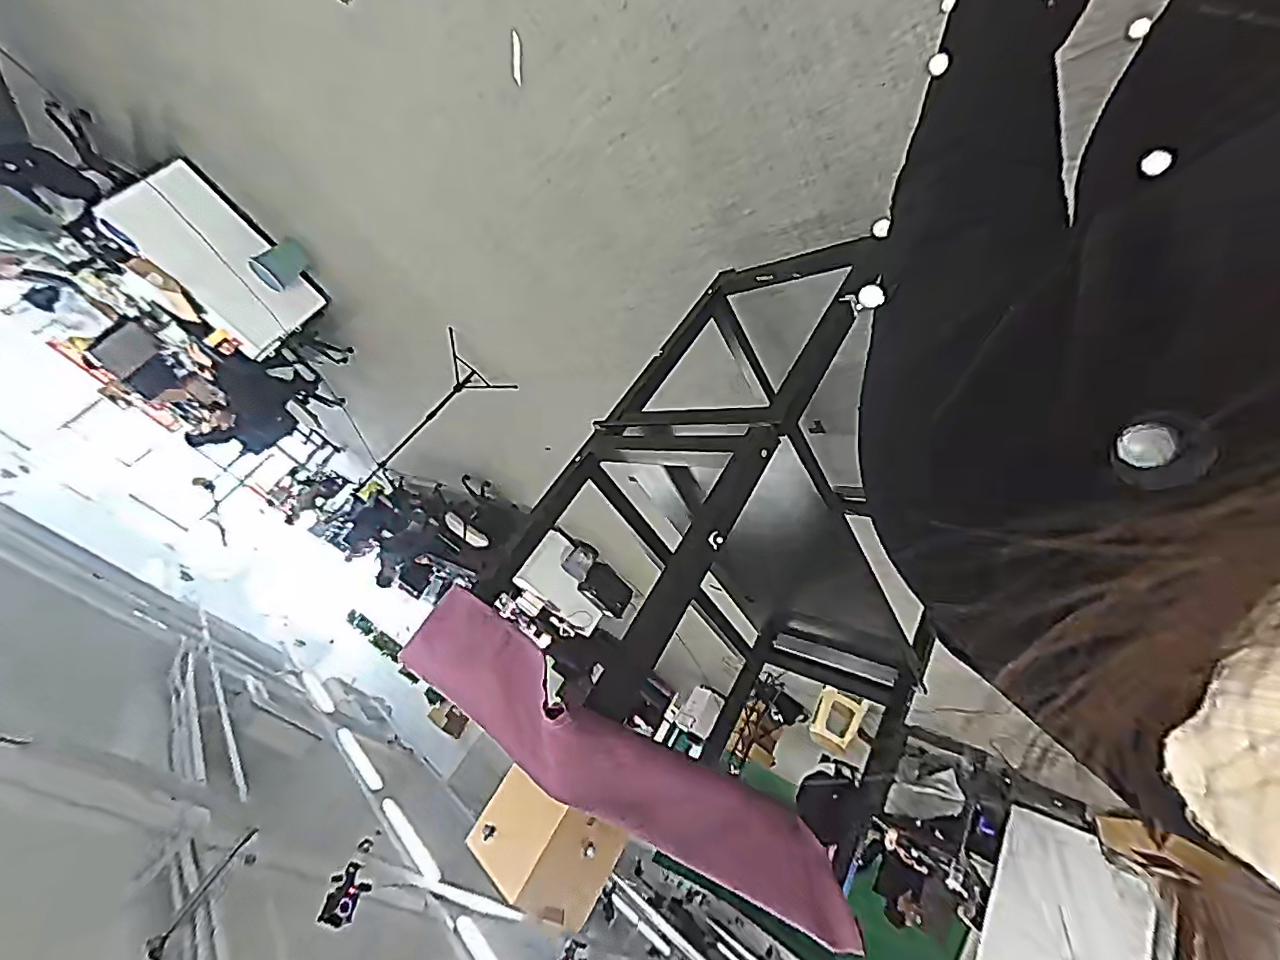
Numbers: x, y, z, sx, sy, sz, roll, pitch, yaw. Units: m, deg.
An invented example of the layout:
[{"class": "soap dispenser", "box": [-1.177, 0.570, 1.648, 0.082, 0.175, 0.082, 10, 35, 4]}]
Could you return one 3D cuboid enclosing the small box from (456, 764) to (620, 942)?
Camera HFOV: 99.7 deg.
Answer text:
[{"class": "small box", "box": [-0.166, 0.611, 0.909, 0.179, 0.176, 0.168, 4, 142, 49]}]
